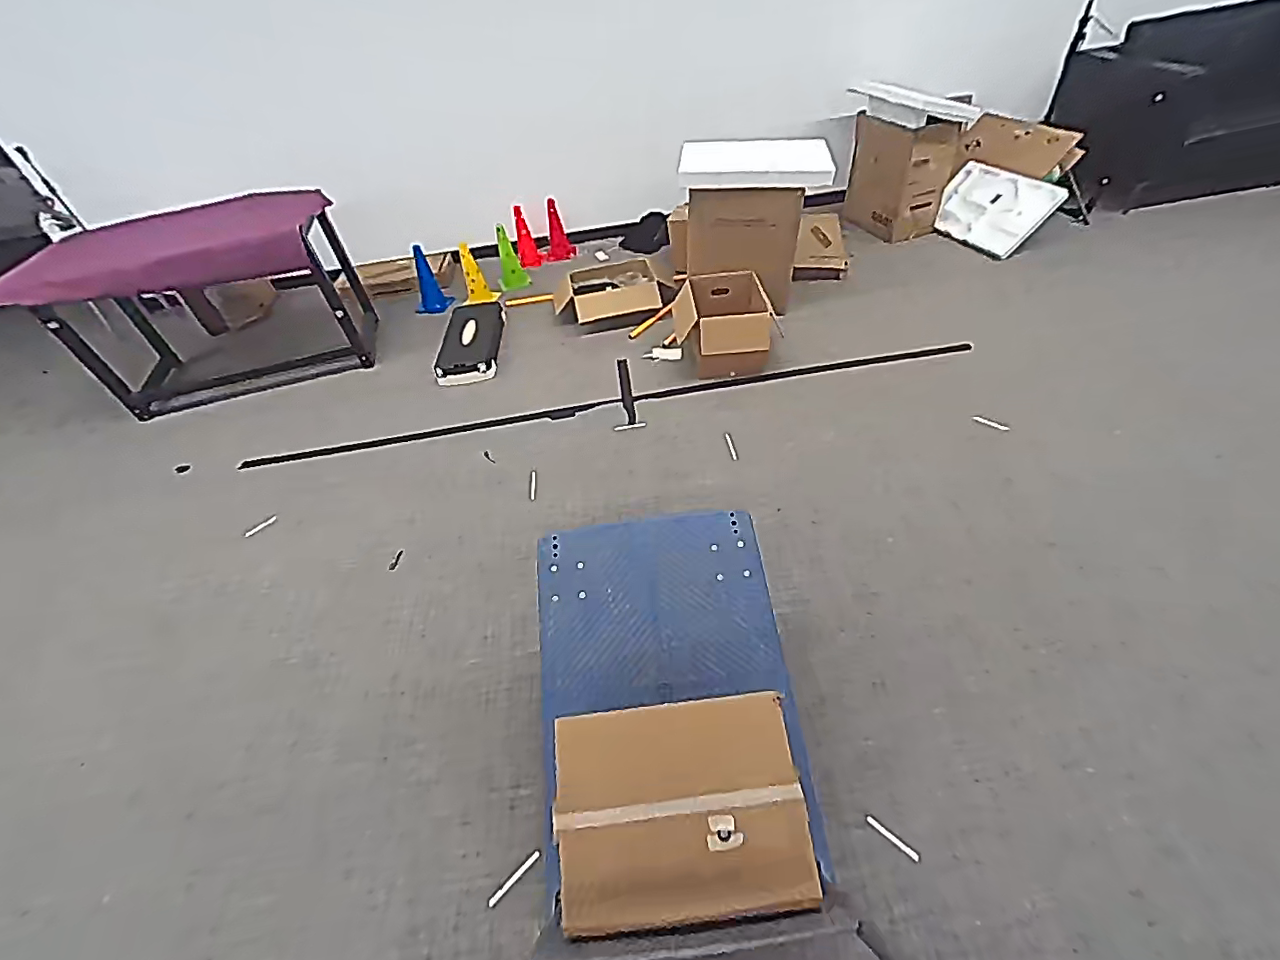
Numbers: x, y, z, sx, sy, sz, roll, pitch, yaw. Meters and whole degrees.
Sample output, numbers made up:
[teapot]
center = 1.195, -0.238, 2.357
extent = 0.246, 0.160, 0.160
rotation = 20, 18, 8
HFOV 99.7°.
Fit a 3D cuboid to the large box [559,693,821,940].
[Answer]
[large box]
center = 0.075, 0.618, 1.039
extent = 0.408, 0.320, 0.320
rotation = -7, 63, -1
